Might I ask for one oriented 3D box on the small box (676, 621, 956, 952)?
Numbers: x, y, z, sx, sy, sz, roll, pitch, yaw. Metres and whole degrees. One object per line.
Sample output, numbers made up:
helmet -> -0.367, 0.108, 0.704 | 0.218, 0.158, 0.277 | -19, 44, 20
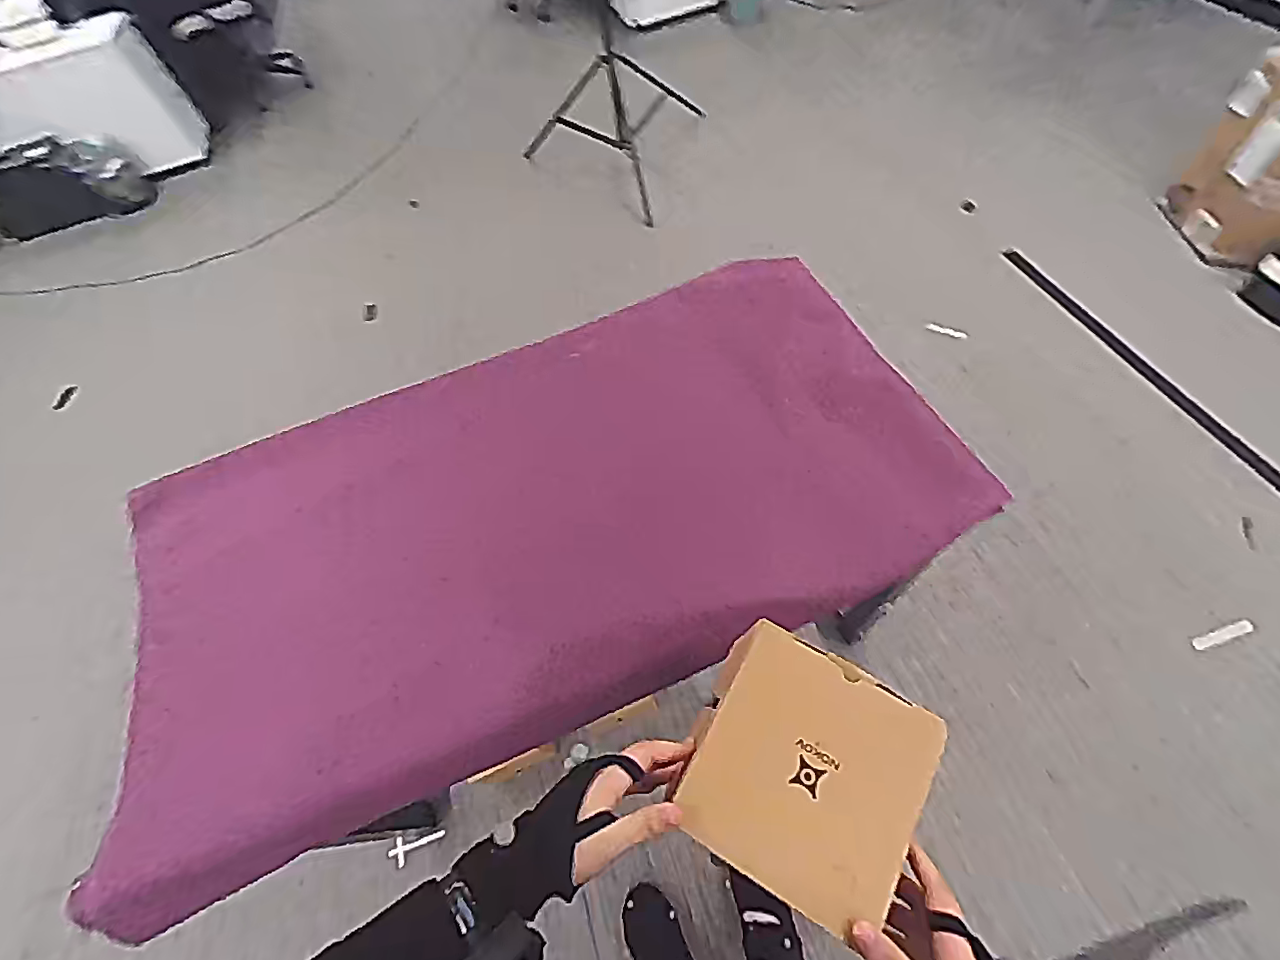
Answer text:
small box -> 0.145, 0.261, 0.498 | 0.168, 0.176, 0.179 | 28, 69, 14

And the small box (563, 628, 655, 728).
small box -> -0.071, 0.488, 1.314 | 0.168, 0.176, 0.179 | -20, 59, -4
